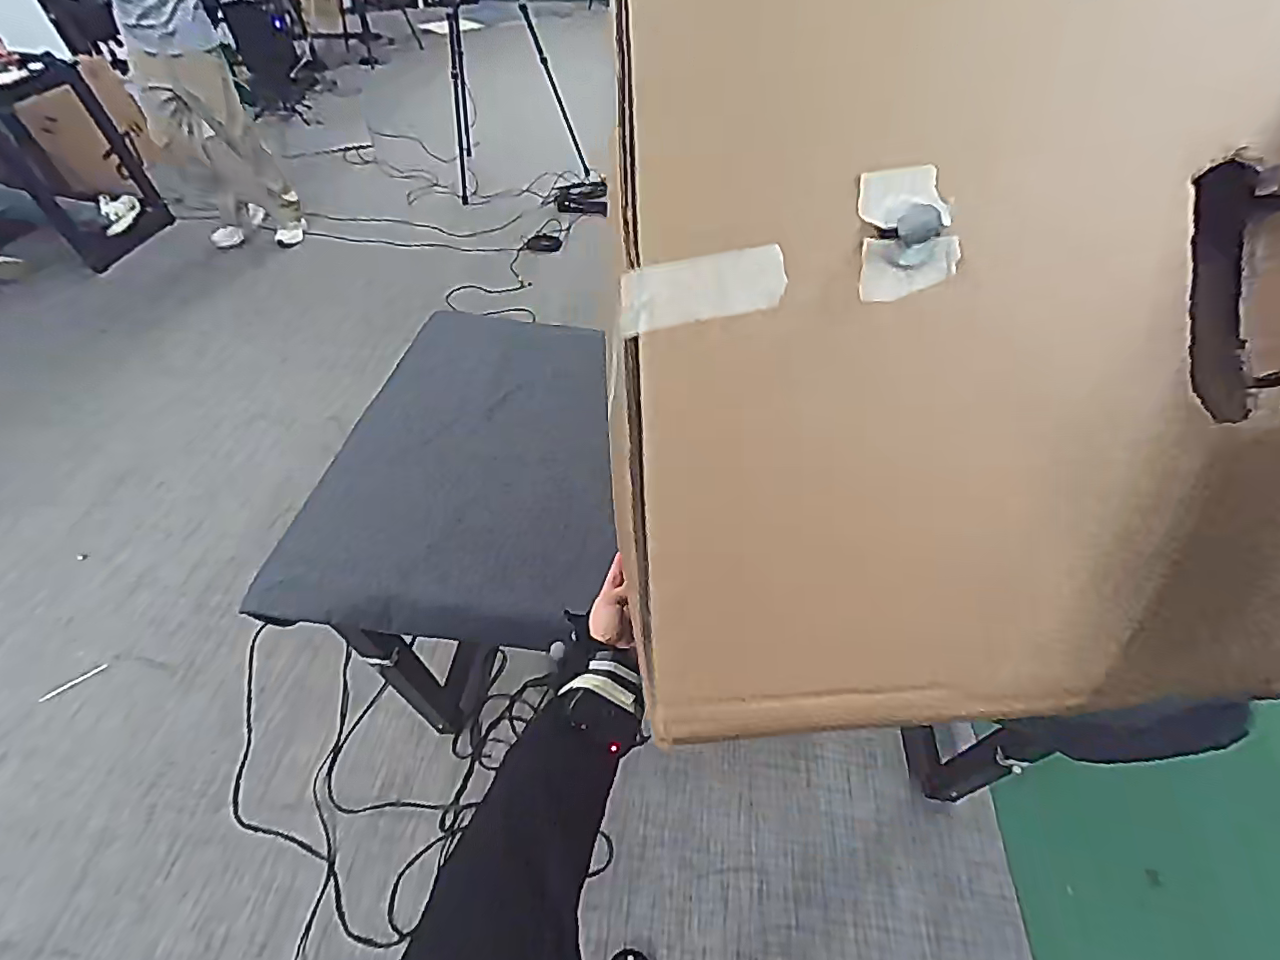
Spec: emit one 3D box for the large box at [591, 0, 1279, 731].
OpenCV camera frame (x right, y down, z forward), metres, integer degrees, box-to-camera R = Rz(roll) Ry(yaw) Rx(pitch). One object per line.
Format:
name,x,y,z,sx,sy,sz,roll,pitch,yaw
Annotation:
large box,0.131,-0.075,0.400,0.320,0.408,0.320,-3,93,-6
